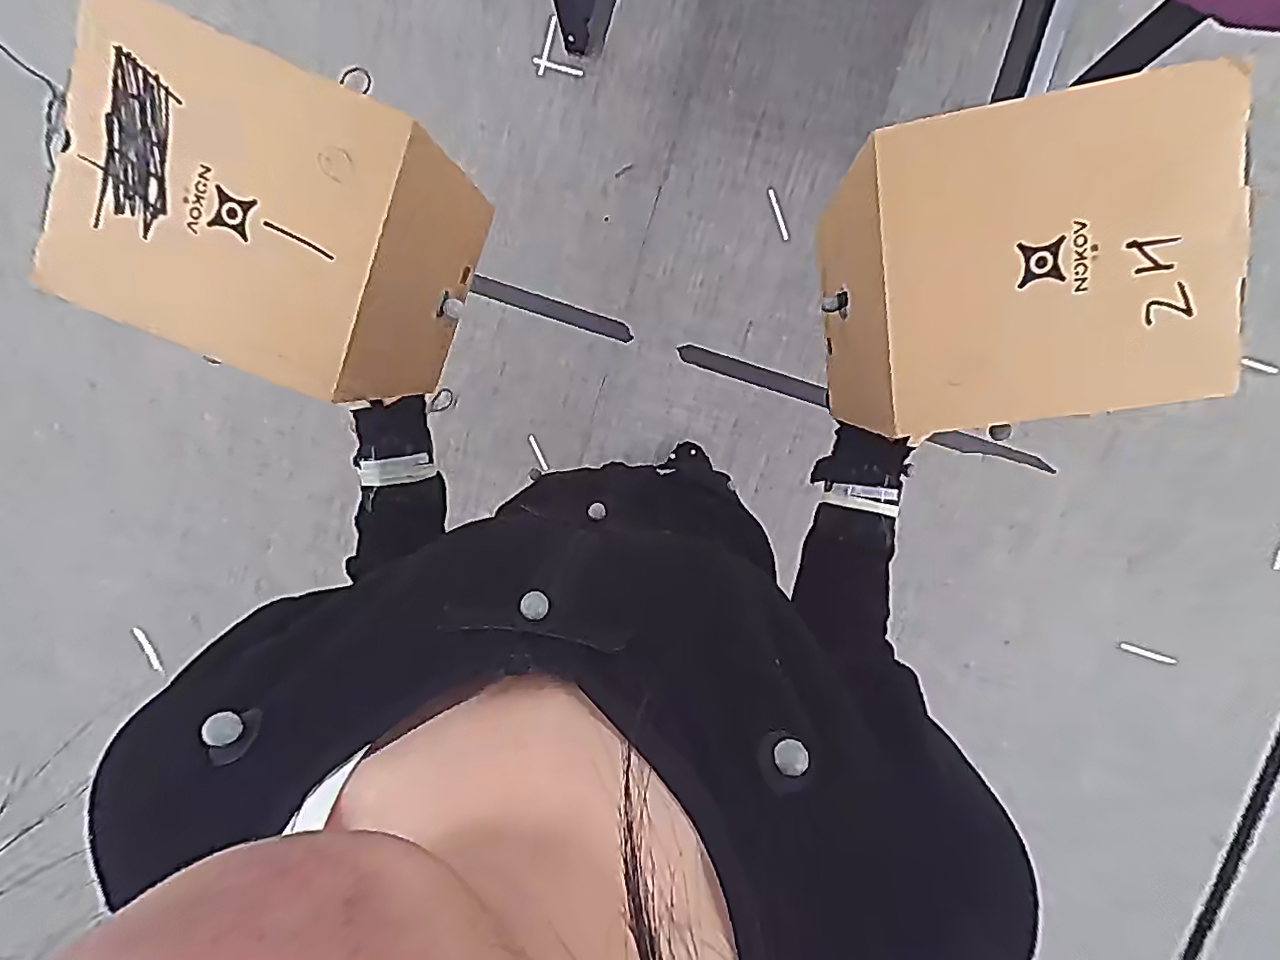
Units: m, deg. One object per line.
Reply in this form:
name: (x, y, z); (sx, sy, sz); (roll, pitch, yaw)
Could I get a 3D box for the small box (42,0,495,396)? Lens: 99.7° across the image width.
small box: (-0.224, -0.167, 0.373); (0.179, 0.176, 0.168); (22, 101, -6)

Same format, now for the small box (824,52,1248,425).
small box: (0.229, -0.133, 0.365); (0.179, 0.176, 0.168); (-7, 100, 8)
